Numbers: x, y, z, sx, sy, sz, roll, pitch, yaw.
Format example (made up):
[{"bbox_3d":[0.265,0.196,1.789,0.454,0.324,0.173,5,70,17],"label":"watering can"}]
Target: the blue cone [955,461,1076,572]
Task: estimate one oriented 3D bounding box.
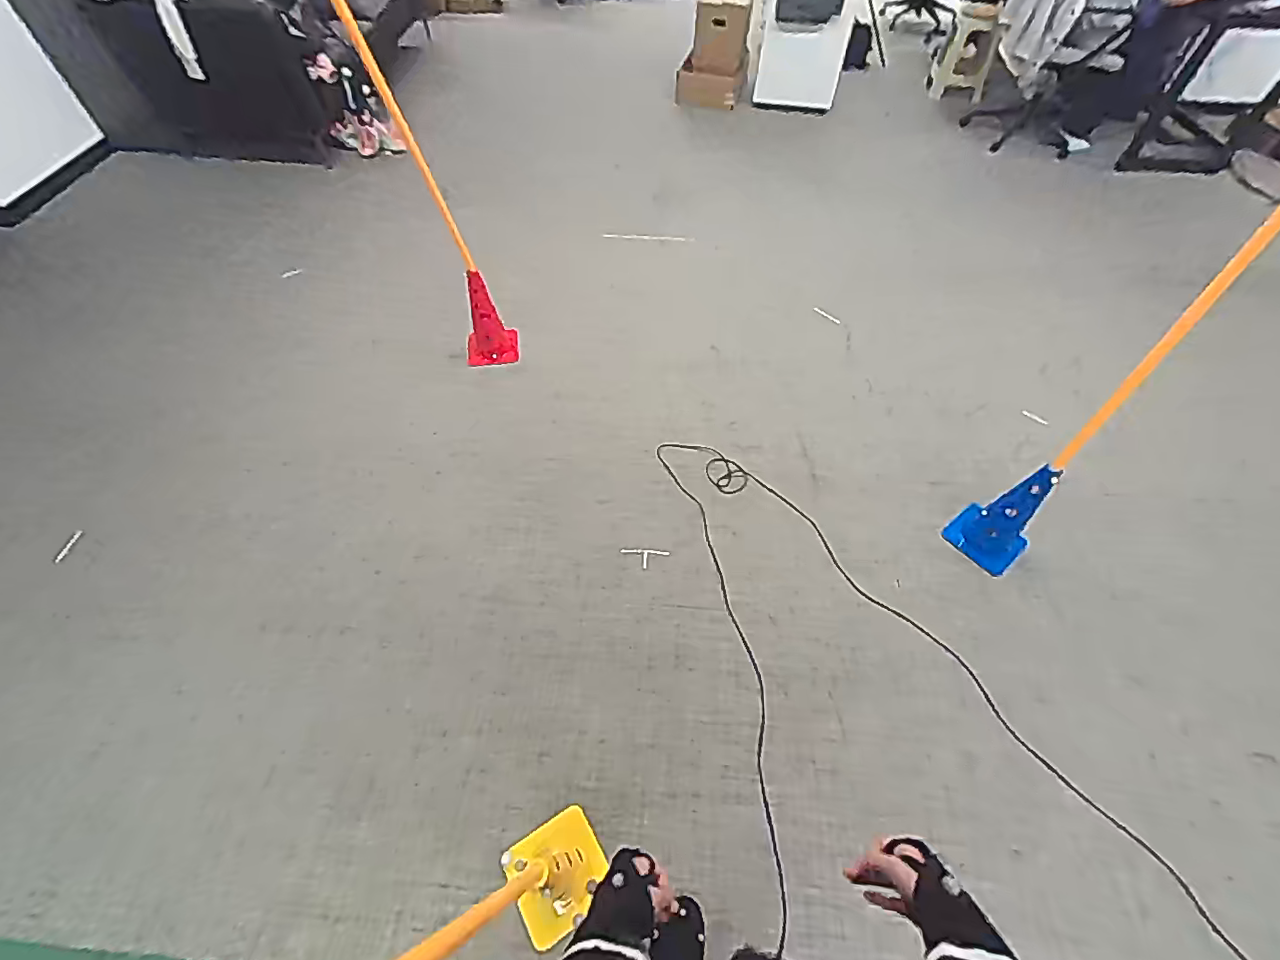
[{"bbox_3d":[1.092,0.073,1.539,0.193,0.380,0.192,-34,60,-24],"label":"blue cone"}]
